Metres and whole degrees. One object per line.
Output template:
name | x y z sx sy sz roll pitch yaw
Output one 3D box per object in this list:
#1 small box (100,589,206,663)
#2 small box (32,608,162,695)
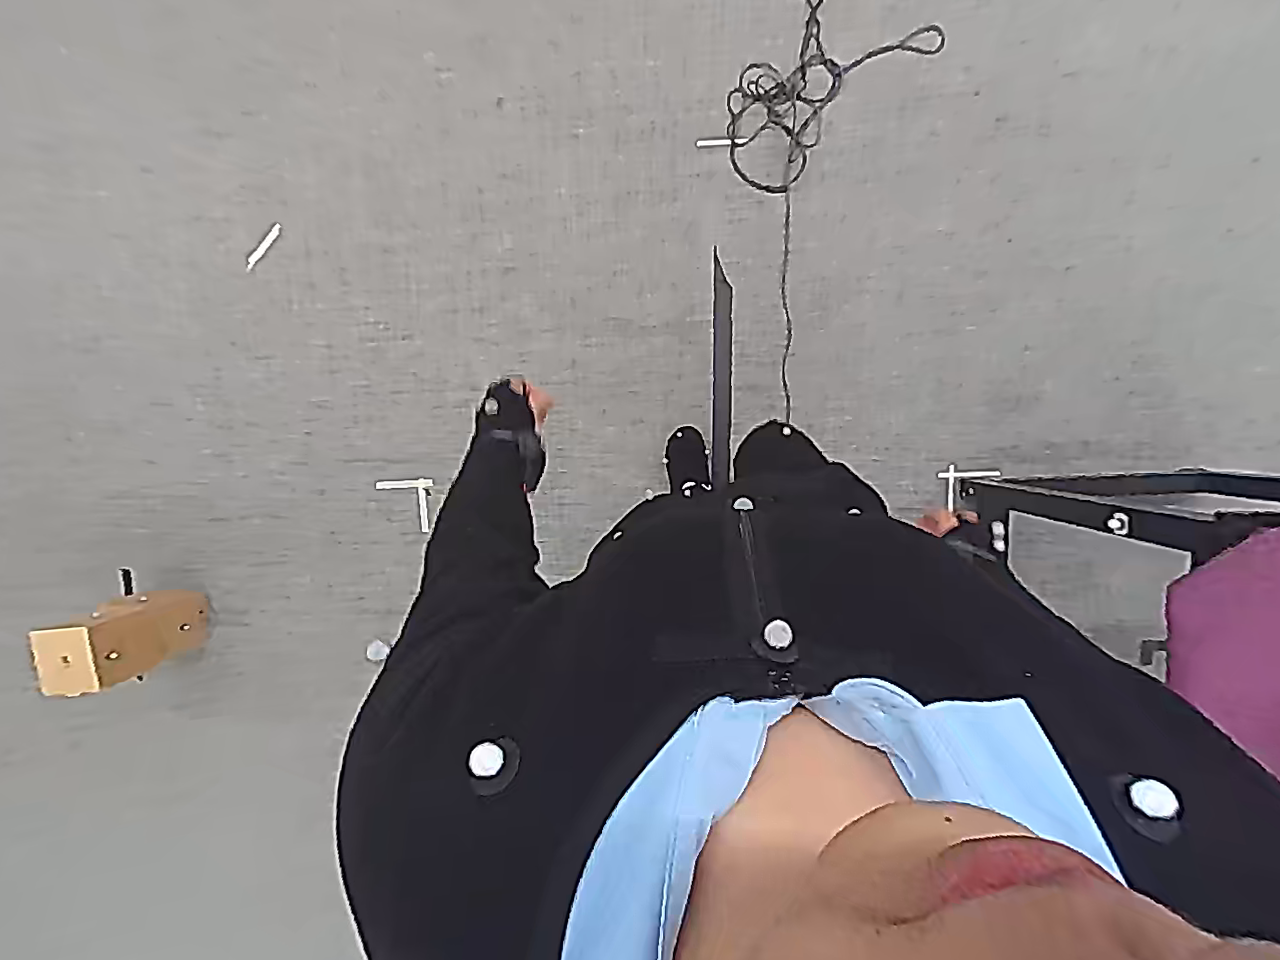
small box | -1.436 0.429 1.608 0.179 0.176 0.168 2 95 6
small box | -1.442 0.450 1.446 0.168 0.176 0.179 -6 95 6
